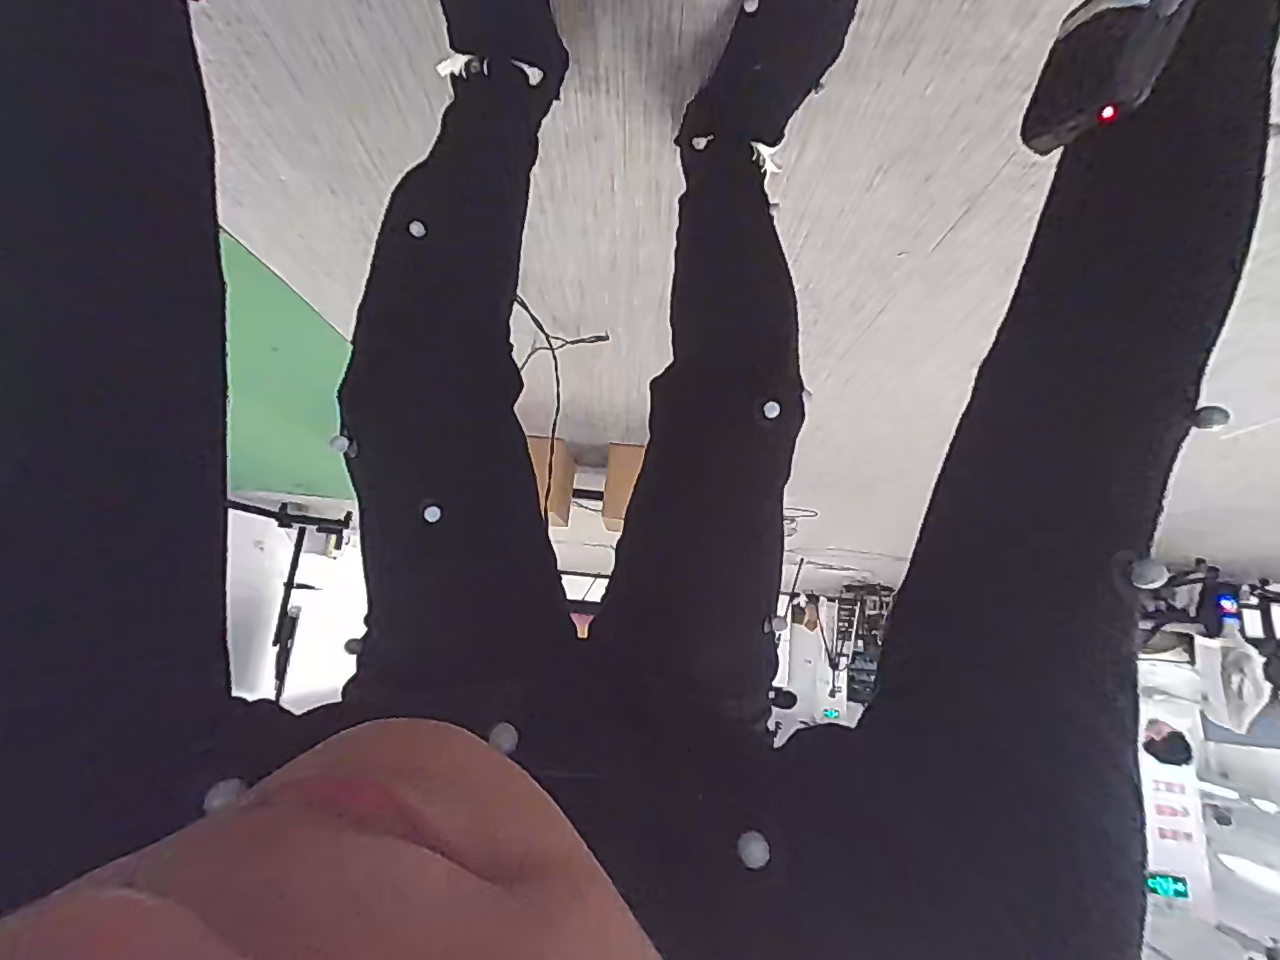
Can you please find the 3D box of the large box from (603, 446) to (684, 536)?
[{"bbox_3d":[0.021,0.057,2.357,0.320,0.320,0.408,6,168,1],"label":"large box"}]

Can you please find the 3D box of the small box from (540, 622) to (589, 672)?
[{"bbox_3d":[-0.297,0.660,2.160,0.168,0.176,0.179,5,167,-1],"label":"small box"}]

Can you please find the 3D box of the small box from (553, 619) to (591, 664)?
[{"bbox_3d":[-0.313,0.721,2.428,0.168,0.176,0.179,7,165,-1],"label":"small box"}]
